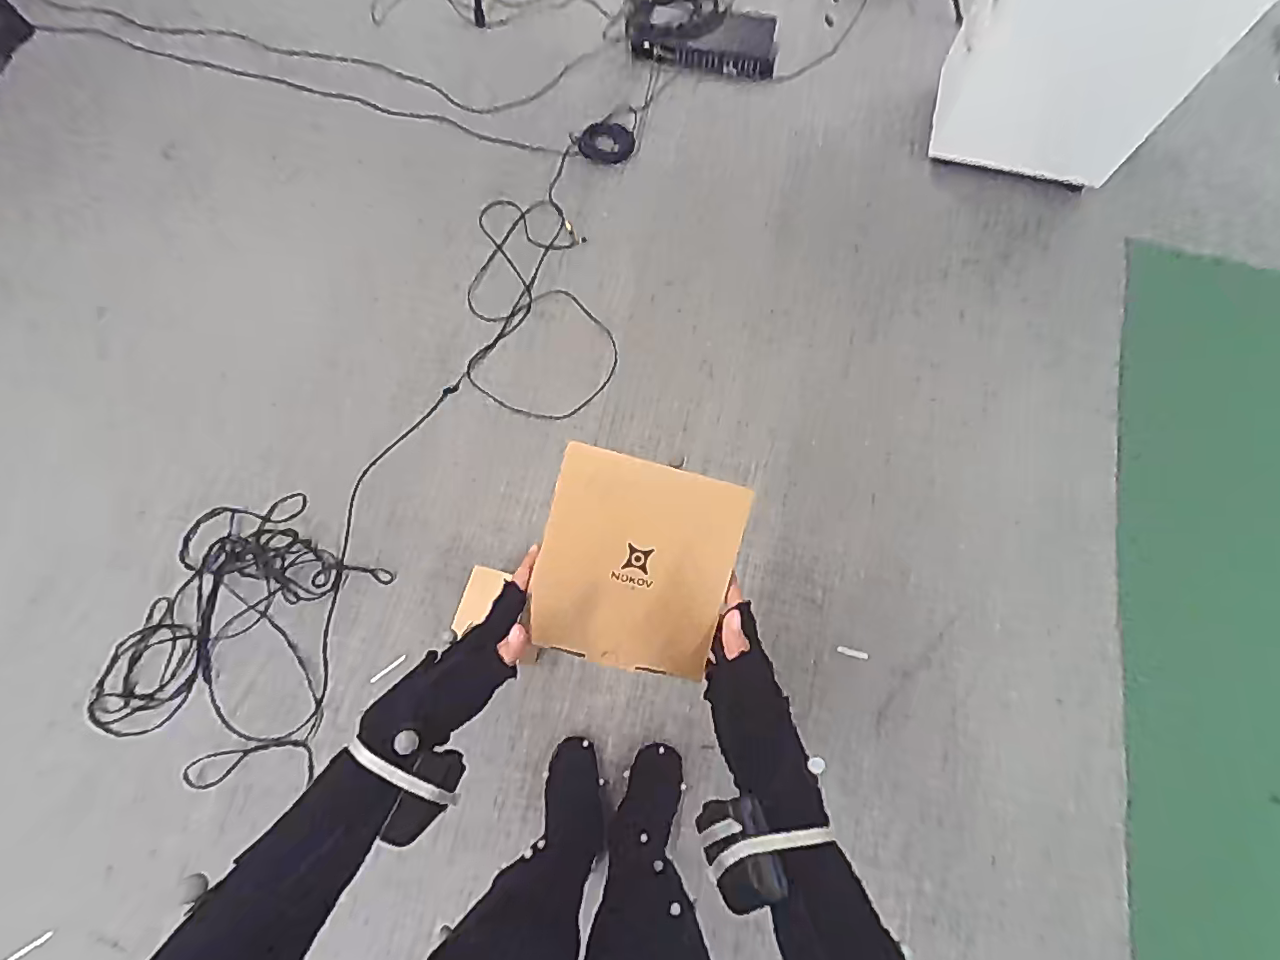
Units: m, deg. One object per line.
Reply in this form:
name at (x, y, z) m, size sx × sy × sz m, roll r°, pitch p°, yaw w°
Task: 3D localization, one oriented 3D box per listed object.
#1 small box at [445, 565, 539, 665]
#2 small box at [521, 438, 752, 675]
small box at (-0.311, 0.311, 1.233) m, size 0.168 × 0.176 × 0.179 m, roll 15°, pitch 72°, yaw 5°
small box at (-0.012, 0.062, 0.539) m, size 0.168 × 0.176 × 0.179 m, roll 15°, pitch 93°, yaw -8°
